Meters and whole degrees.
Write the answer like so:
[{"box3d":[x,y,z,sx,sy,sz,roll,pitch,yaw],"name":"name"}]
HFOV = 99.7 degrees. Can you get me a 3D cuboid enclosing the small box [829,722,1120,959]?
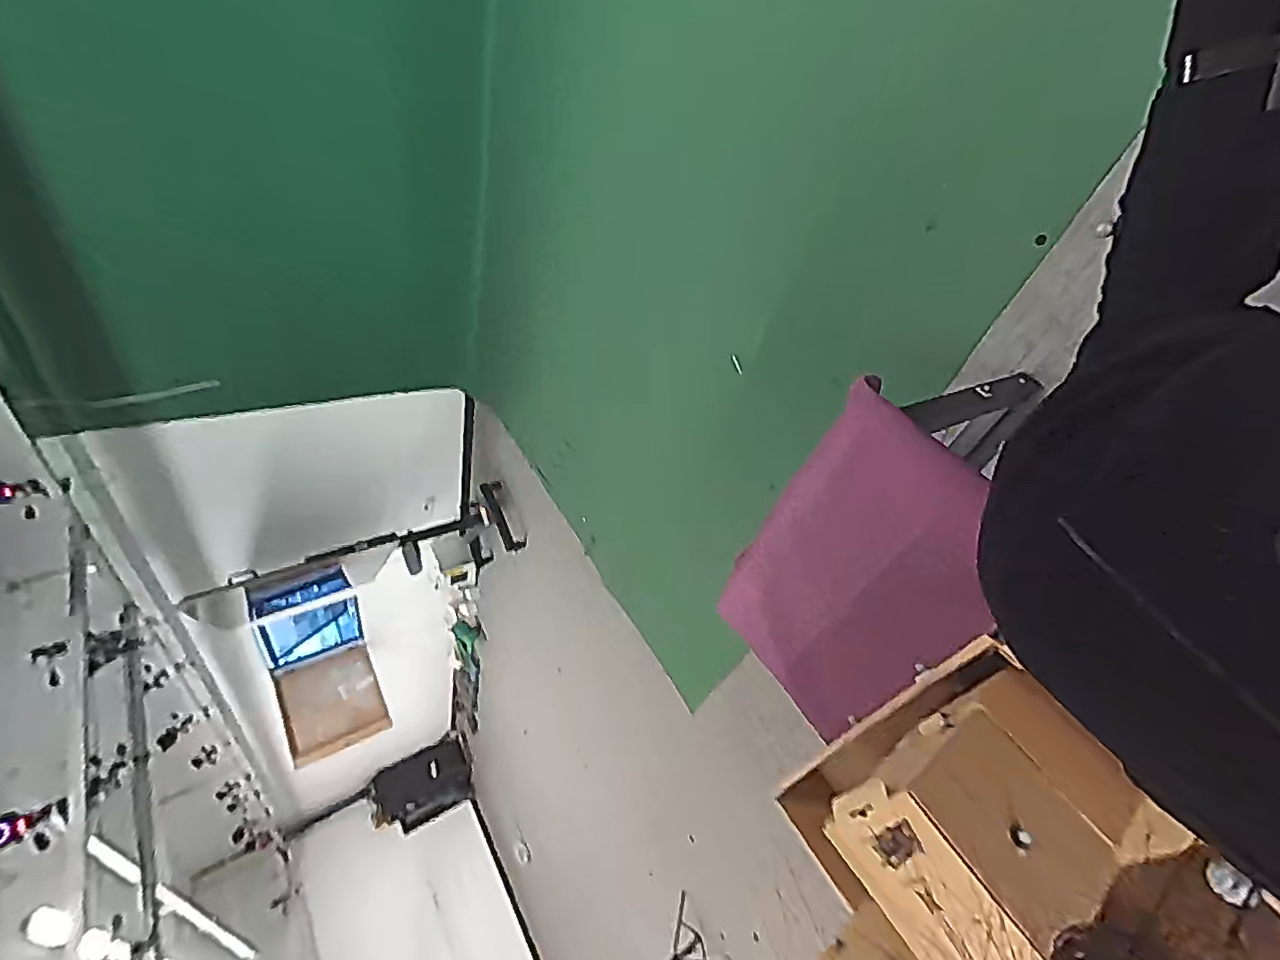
[{"box3d":[0.353,0.392,0.587,0.179,0.176,0.168,51,141,27],"name":"small box"}]
